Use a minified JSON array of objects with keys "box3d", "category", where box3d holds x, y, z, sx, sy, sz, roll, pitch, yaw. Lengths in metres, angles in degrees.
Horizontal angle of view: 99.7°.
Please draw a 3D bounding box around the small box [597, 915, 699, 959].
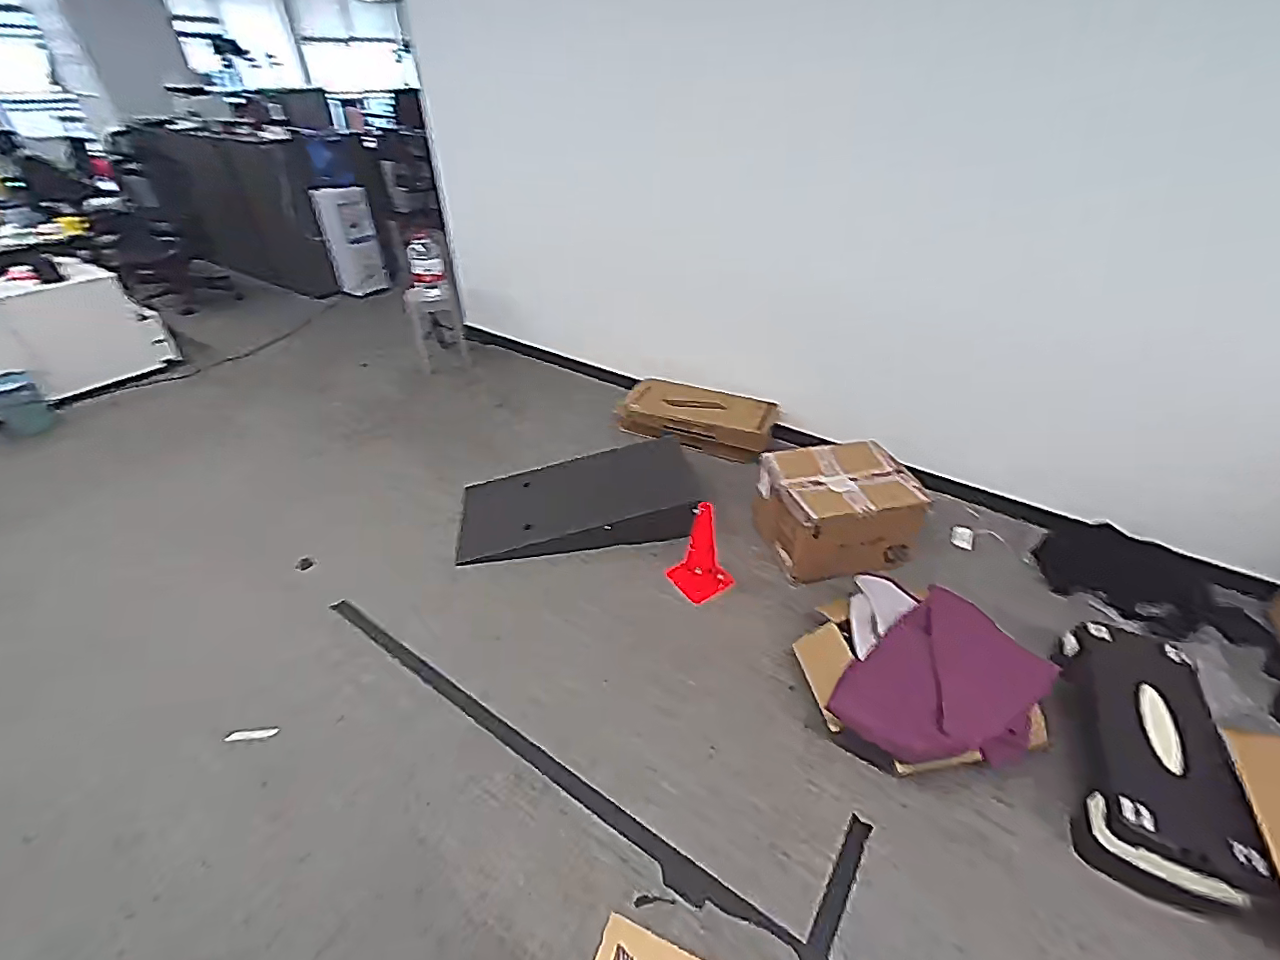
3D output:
[{"box3d":[0.015,0.694,0.662,0.179,0.176,0.168,15,39,19],"category":"small box"}]
